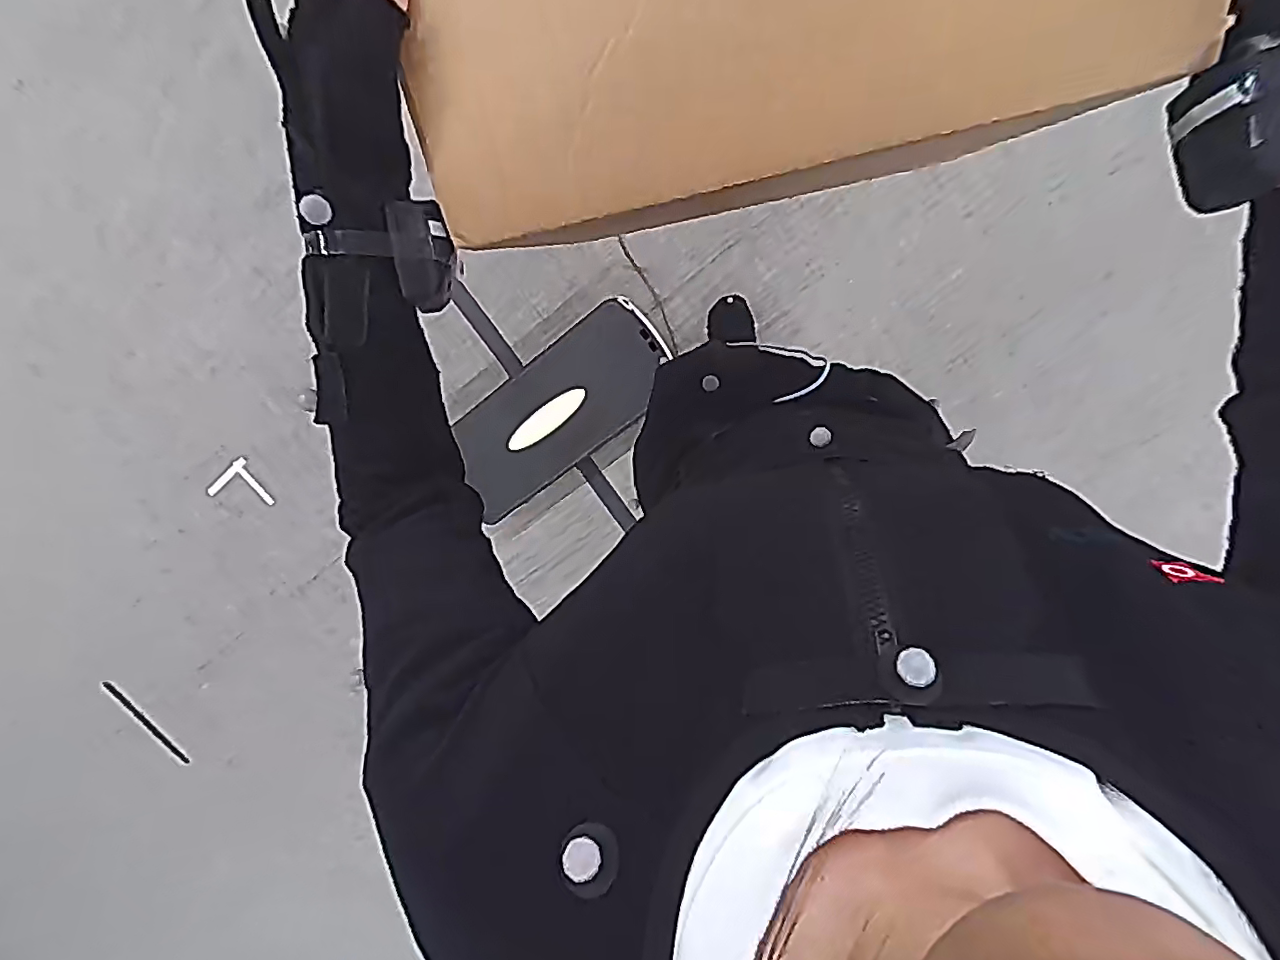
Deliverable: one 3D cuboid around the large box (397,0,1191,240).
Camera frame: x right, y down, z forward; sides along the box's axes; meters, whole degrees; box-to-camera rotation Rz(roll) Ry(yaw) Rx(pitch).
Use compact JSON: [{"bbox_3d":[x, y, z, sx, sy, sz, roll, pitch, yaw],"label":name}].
[{"bbox_3d":[0.066,-0.384,0.391,0.408,0.320,0.320,-8,113,12],"label":"large box"}]
